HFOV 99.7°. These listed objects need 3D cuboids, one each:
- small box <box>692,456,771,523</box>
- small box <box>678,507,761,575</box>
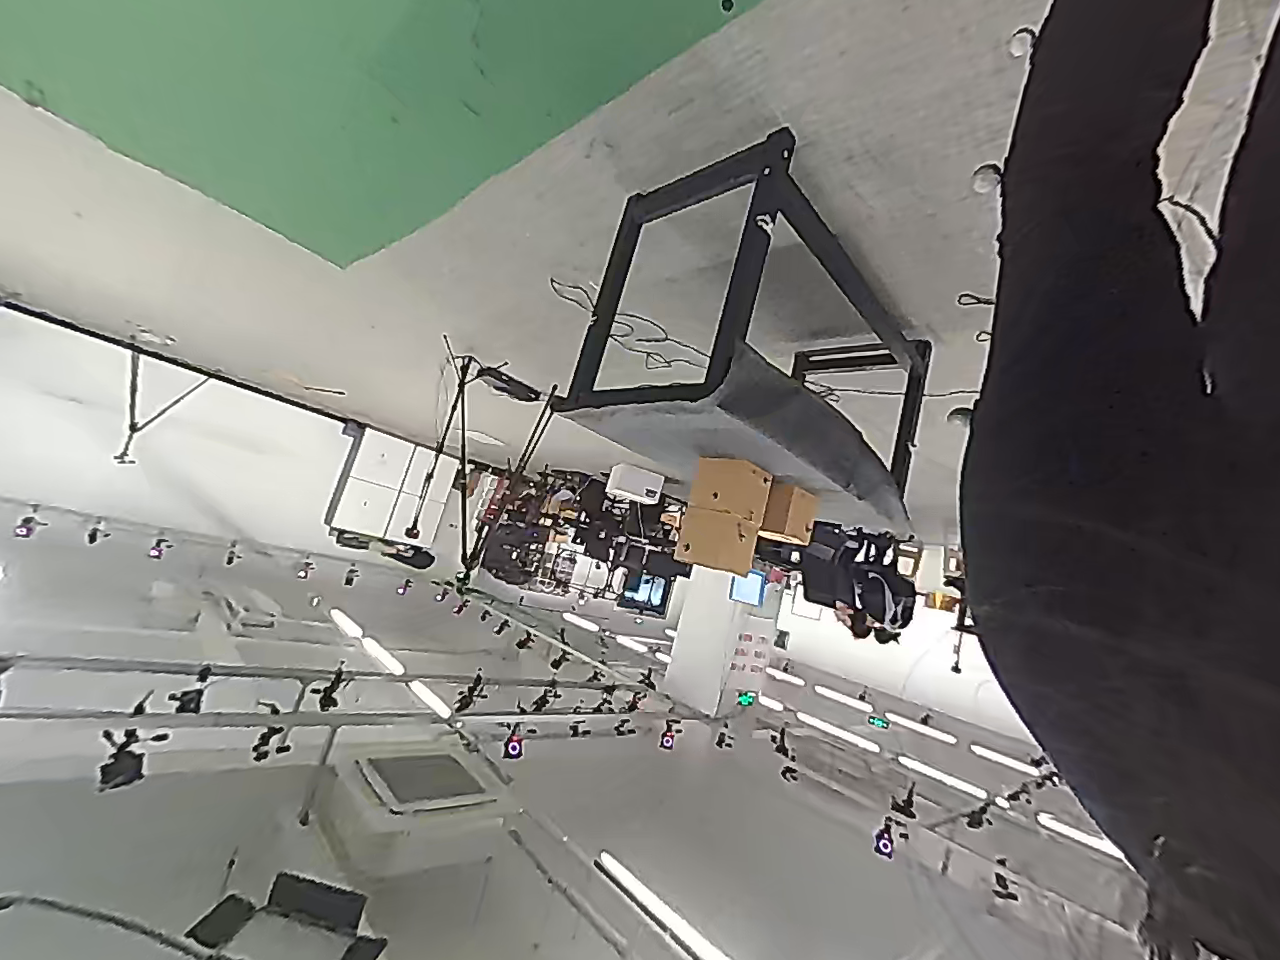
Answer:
[{"bbox_3d":[0.293,0.027,1.687,0.168,0.176,0.179,23,169,-41],"label":"small box"},{"bbox_3d":[0.249,0.186,1.683,0.168,0.176,0.179,22,169,-40],"label":"small box"}]
